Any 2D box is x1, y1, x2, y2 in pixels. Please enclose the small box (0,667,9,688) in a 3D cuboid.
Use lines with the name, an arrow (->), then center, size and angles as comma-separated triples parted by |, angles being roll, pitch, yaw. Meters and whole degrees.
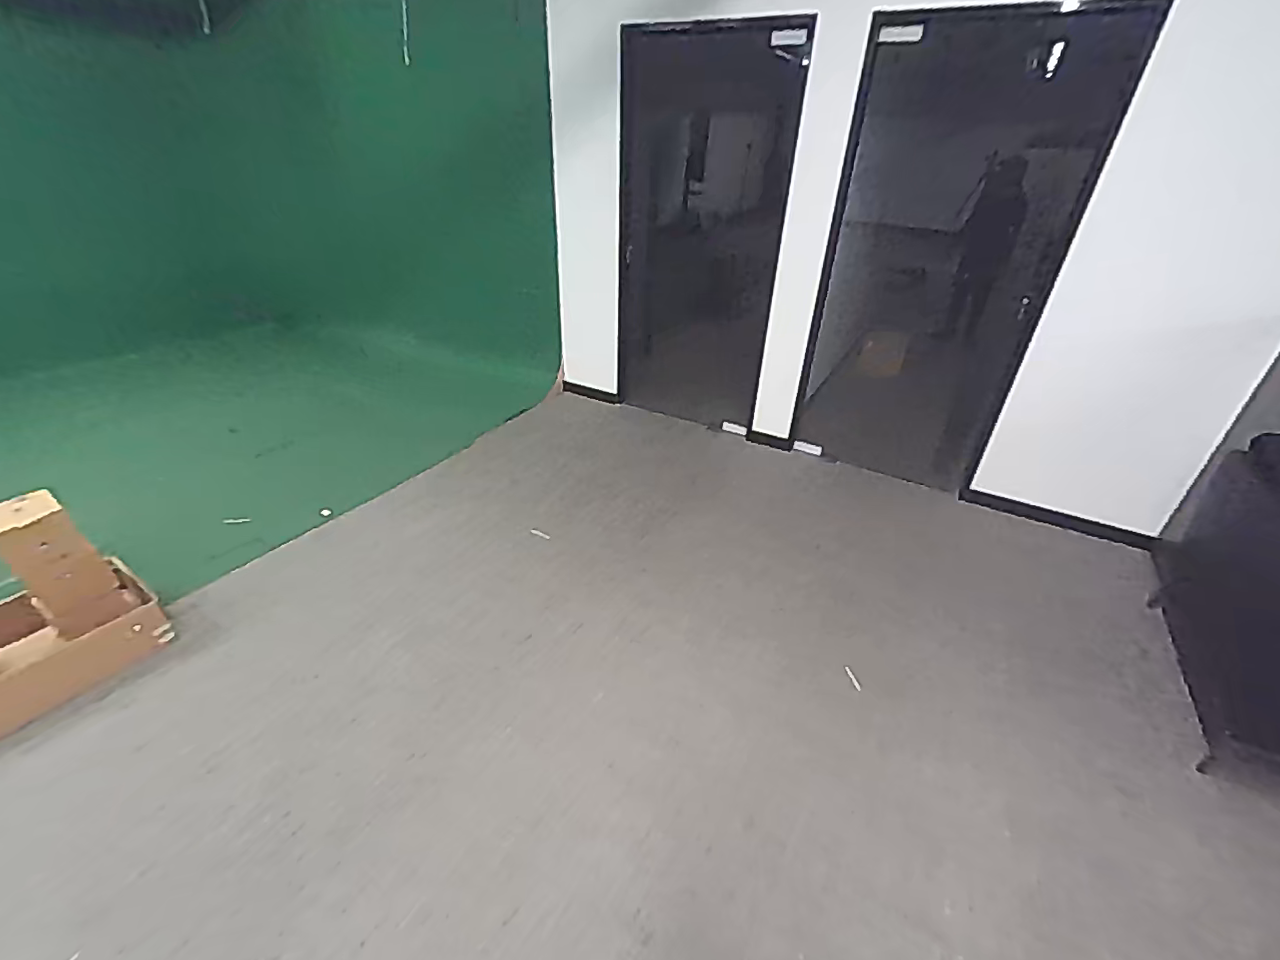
small box -> -2.052, 0.569, 1.604 | 0.179, 0.176, 0.168 | 21, 36, 25

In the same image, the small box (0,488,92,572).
small box -> -1.847, 0.157, 1.659 | 0.179, 0.176, 0.168 | 25, 40, 27

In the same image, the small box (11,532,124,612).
small box -> -1.845, 0.295, 1.749 | 0.168, 0.176, 0.179 | 22, 37, 23
